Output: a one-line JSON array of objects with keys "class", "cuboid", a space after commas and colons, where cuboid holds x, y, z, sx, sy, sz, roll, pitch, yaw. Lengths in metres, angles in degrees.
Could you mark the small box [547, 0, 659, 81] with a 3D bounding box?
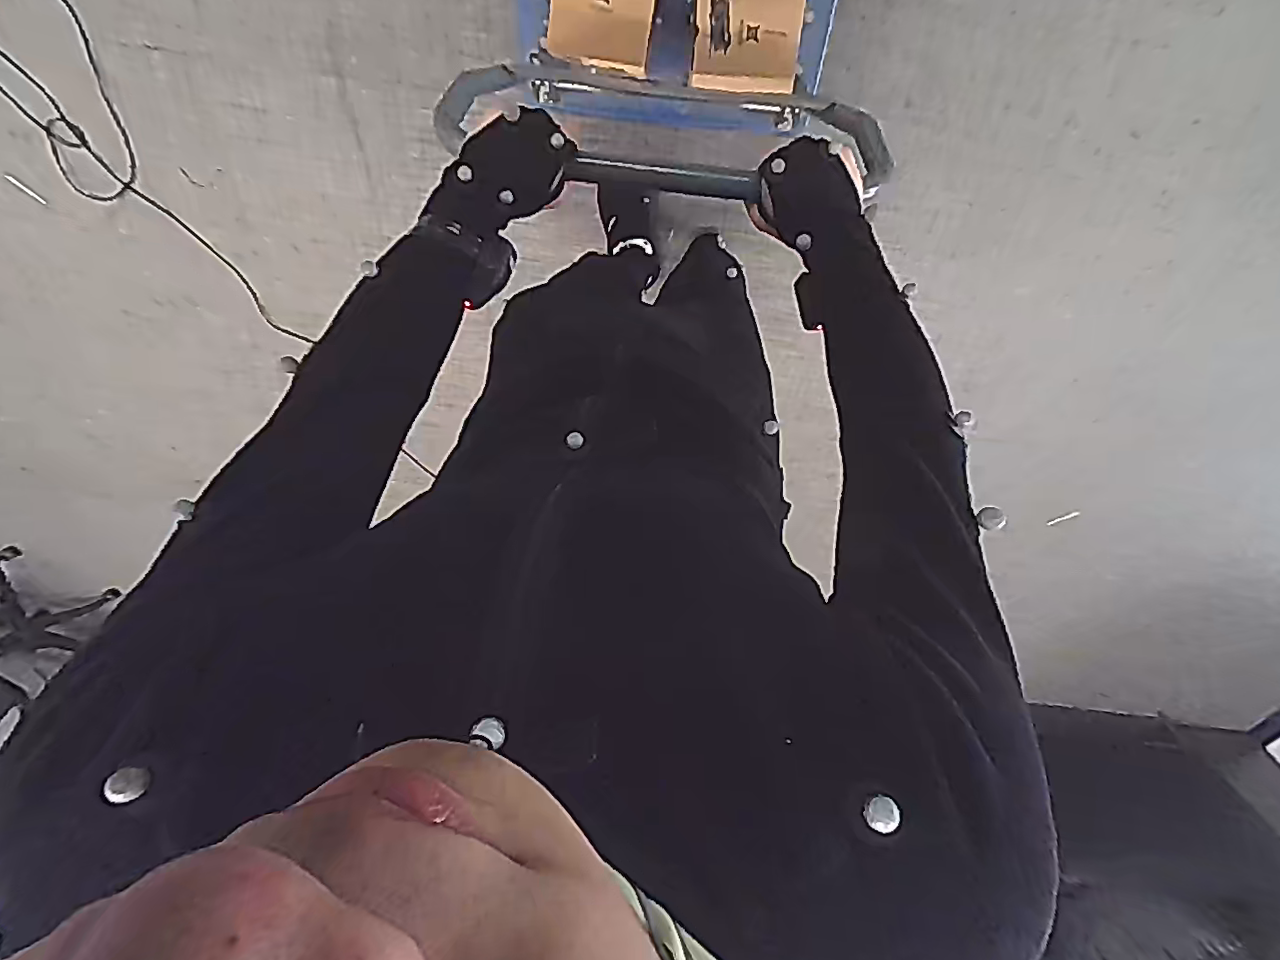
[{"class": "small box", "cuboid": [-0.057, -0.809, 0.925, 0.168, 0.176, 0.179, 10, 126, -5]}]
